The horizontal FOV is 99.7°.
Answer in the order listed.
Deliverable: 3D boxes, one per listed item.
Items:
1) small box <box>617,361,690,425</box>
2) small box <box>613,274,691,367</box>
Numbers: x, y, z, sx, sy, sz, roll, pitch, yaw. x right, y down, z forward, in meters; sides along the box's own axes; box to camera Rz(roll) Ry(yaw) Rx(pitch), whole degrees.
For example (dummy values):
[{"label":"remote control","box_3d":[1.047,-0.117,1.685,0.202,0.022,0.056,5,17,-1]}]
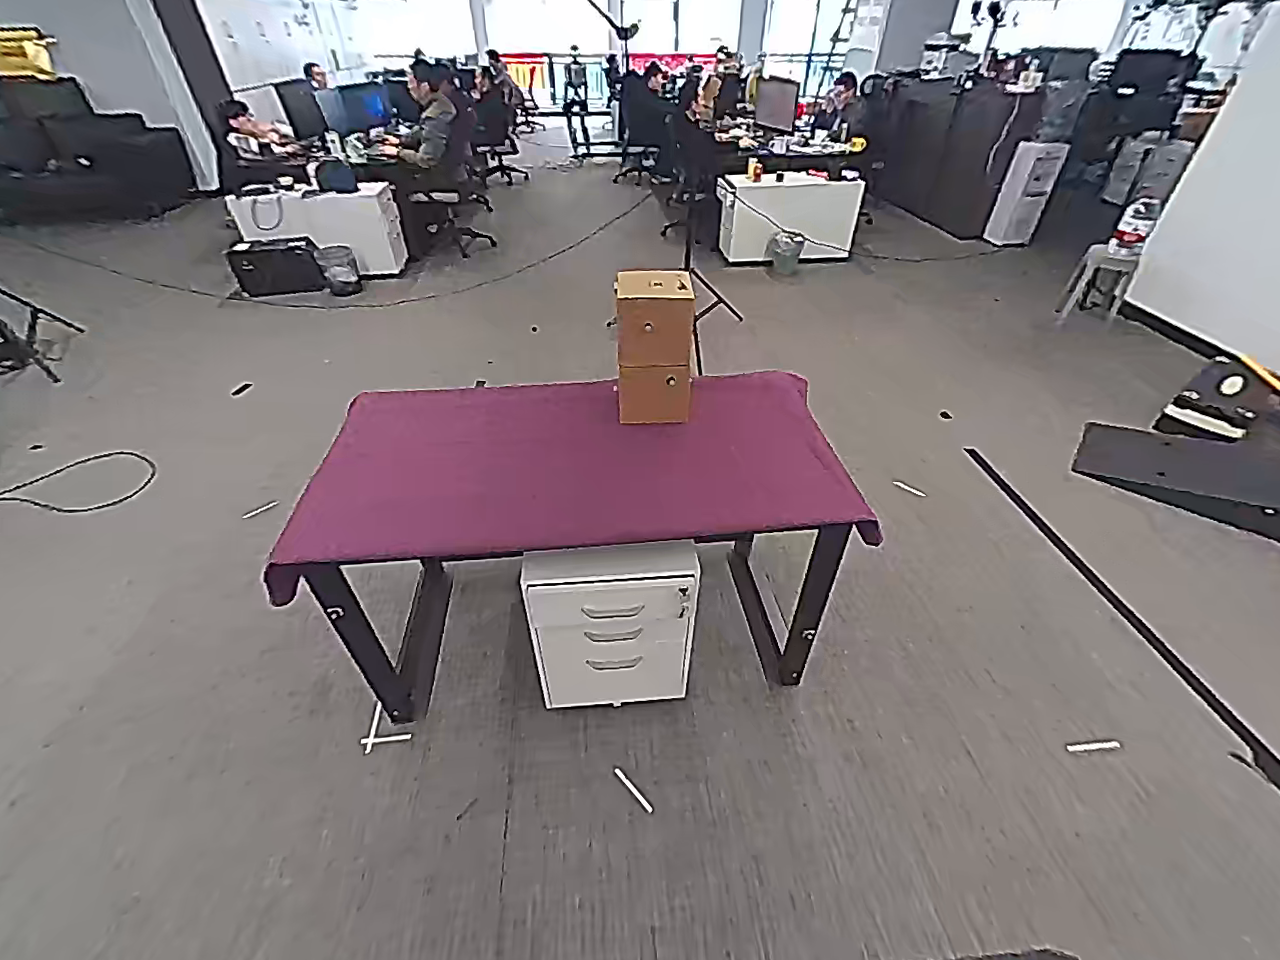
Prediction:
[{"label":"small box","box_3d":[0.030,-0.255,1.404,0.179,0.176,0.168,-2,40,-2]},{"label":"small box","box_3d":[0.028,-0.381,1.299,0.179,0.176,0.168,-2,41,0]}]
